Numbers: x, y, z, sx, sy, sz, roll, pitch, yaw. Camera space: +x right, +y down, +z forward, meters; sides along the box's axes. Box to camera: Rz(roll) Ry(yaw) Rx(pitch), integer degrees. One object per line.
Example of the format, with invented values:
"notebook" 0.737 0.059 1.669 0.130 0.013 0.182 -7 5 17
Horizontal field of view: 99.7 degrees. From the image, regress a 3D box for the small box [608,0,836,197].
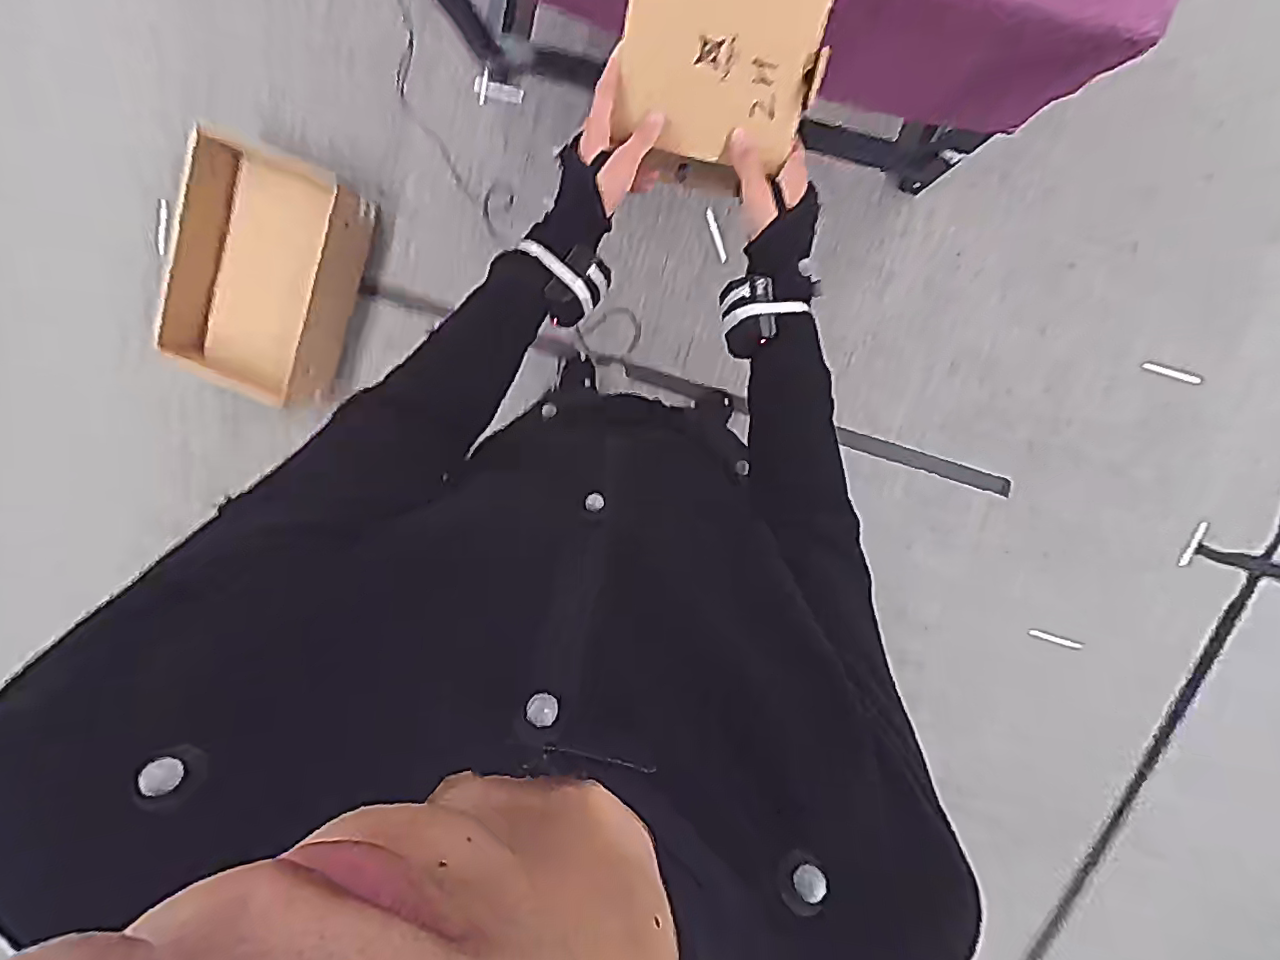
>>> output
"small box" 0.075 -0.407 0.557 0.179 0.176 0.168 13 111 -3
